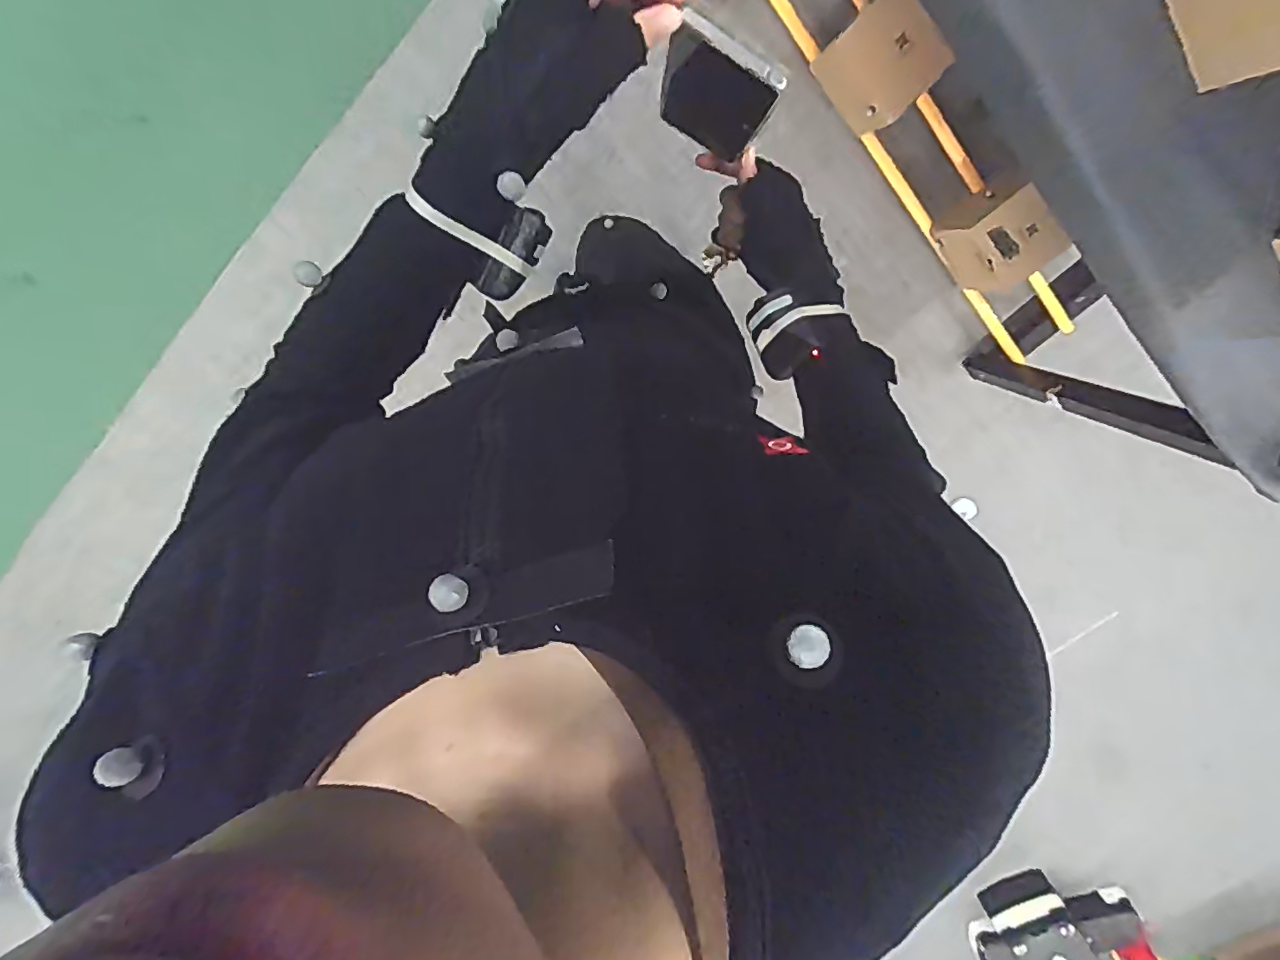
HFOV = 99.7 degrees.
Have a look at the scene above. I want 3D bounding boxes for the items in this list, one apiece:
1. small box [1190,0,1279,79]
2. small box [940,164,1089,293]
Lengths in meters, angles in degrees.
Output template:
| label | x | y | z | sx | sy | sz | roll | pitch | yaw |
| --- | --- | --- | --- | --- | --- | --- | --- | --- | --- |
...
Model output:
| label | x | y | z | sx | sy | sz | roll | pitch | yaw |
| --- | --- | --- | --- | --- | --- | --- | --- | --- | --- |
| small box | 0.624 | -0.499 | 0.463 | 0.168 | 0.176 | 0.179 | -39 | 109 | 13 |
| small box | 0.769 | -0.518 | 1.134 | 0.179 | 0.176 | 0.168 | -39 | 109 | 13 |
